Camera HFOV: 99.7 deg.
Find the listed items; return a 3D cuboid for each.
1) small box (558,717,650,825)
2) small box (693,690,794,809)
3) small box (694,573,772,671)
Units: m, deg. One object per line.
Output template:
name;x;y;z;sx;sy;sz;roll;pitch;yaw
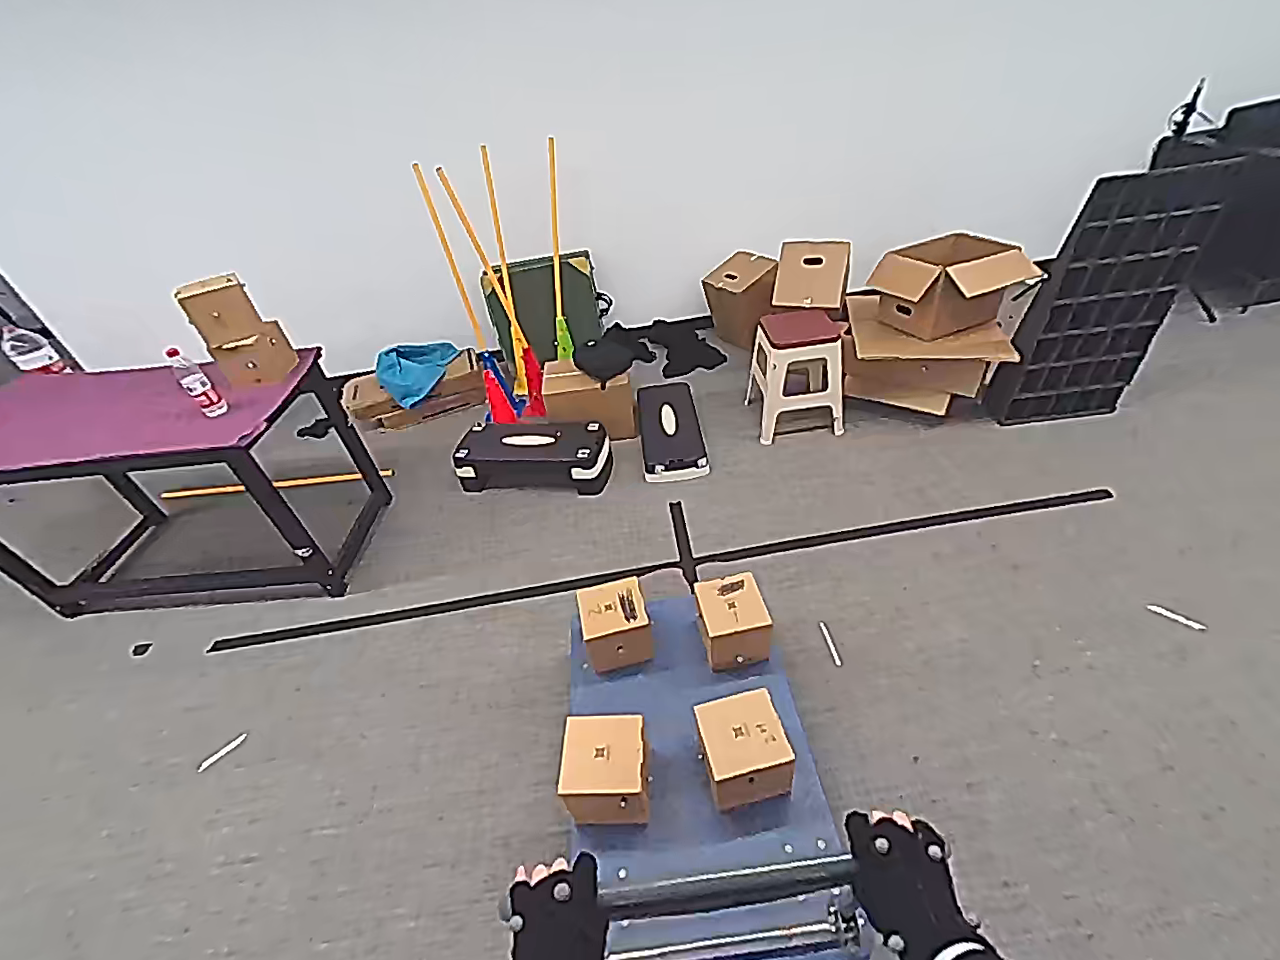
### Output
small box;-0.072;0.651;1.206;0.179;0.176;0.168;-4;40;4
small box;0.229;0.603;1.205;0.179;0.176;0.168;-13;40;-4
small box;0.247;0.384;1.461;0.168;0.176;0.179;-12;41;-3
